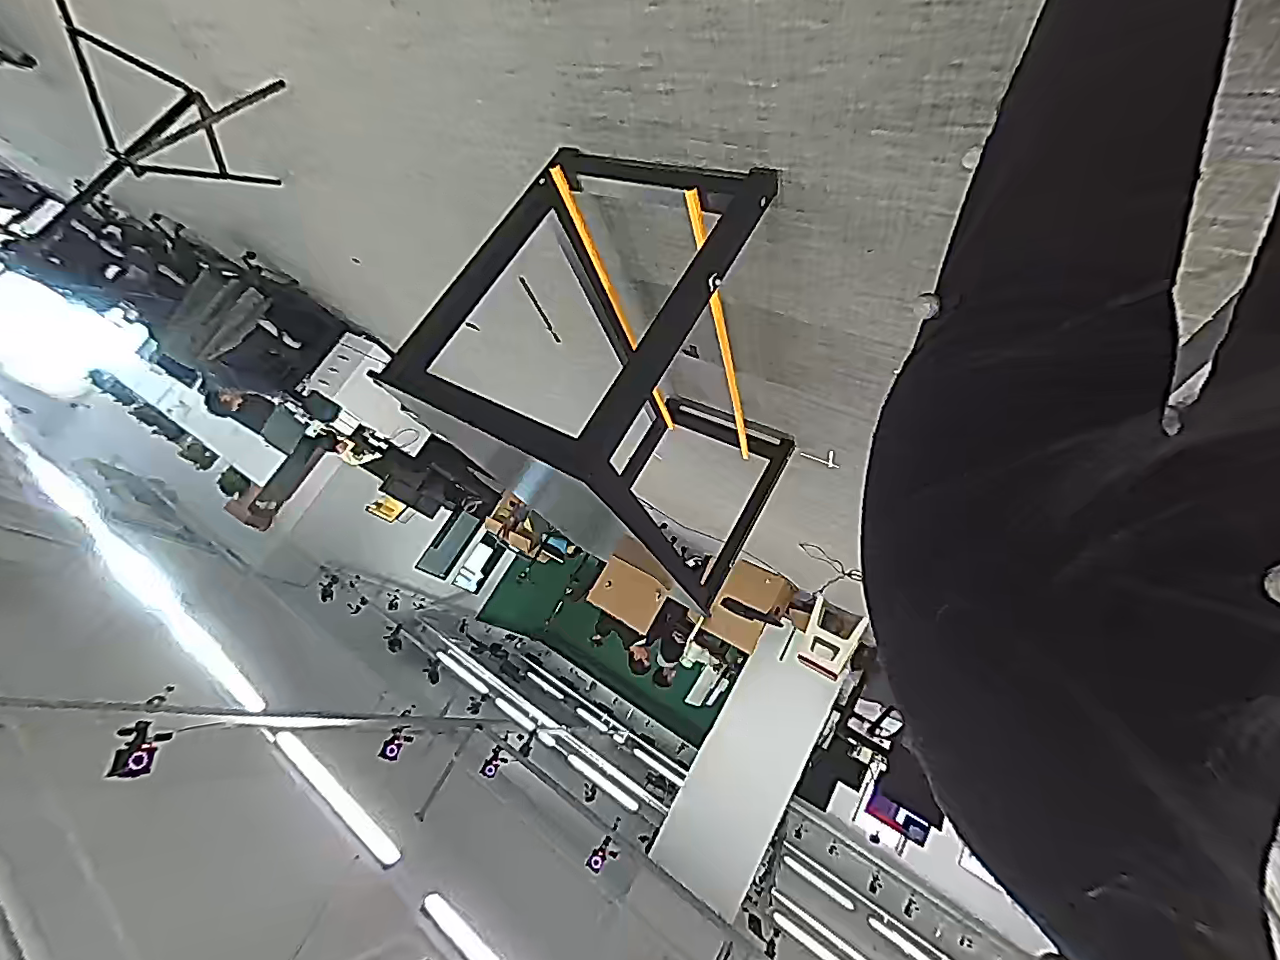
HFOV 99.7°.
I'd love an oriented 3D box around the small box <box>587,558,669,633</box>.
[{"bbox_3d":[-0.035,0.366,1.740,0.179,0.176,0.168,23,165,29],"label":"small box"}]
